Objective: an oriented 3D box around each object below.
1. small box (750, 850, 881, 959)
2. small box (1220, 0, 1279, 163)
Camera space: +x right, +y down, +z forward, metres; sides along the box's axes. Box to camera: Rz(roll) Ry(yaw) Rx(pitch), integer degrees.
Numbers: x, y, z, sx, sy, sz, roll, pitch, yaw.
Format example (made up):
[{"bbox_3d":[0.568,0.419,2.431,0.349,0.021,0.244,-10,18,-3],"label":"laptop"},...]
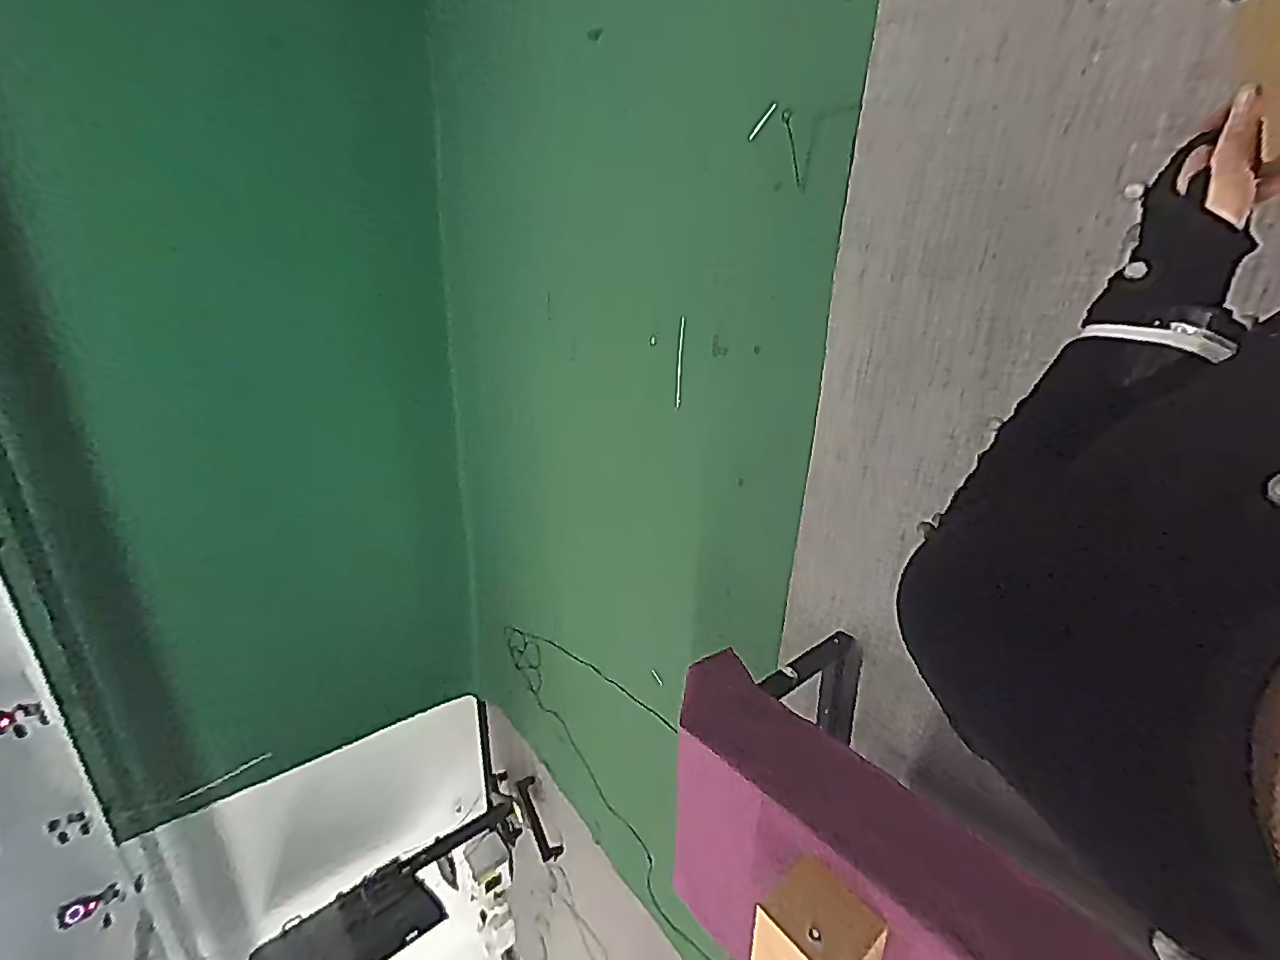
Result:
[{"bbox_3d":[0.339,0.876,1.049,0.179,0.176,0.168,23,119,47],"label":"small box"},{"bbox_3d":[0.430,-0.298,0.278,0.168,0.176,0.179,-5,102,42],"label":"small box"}]
